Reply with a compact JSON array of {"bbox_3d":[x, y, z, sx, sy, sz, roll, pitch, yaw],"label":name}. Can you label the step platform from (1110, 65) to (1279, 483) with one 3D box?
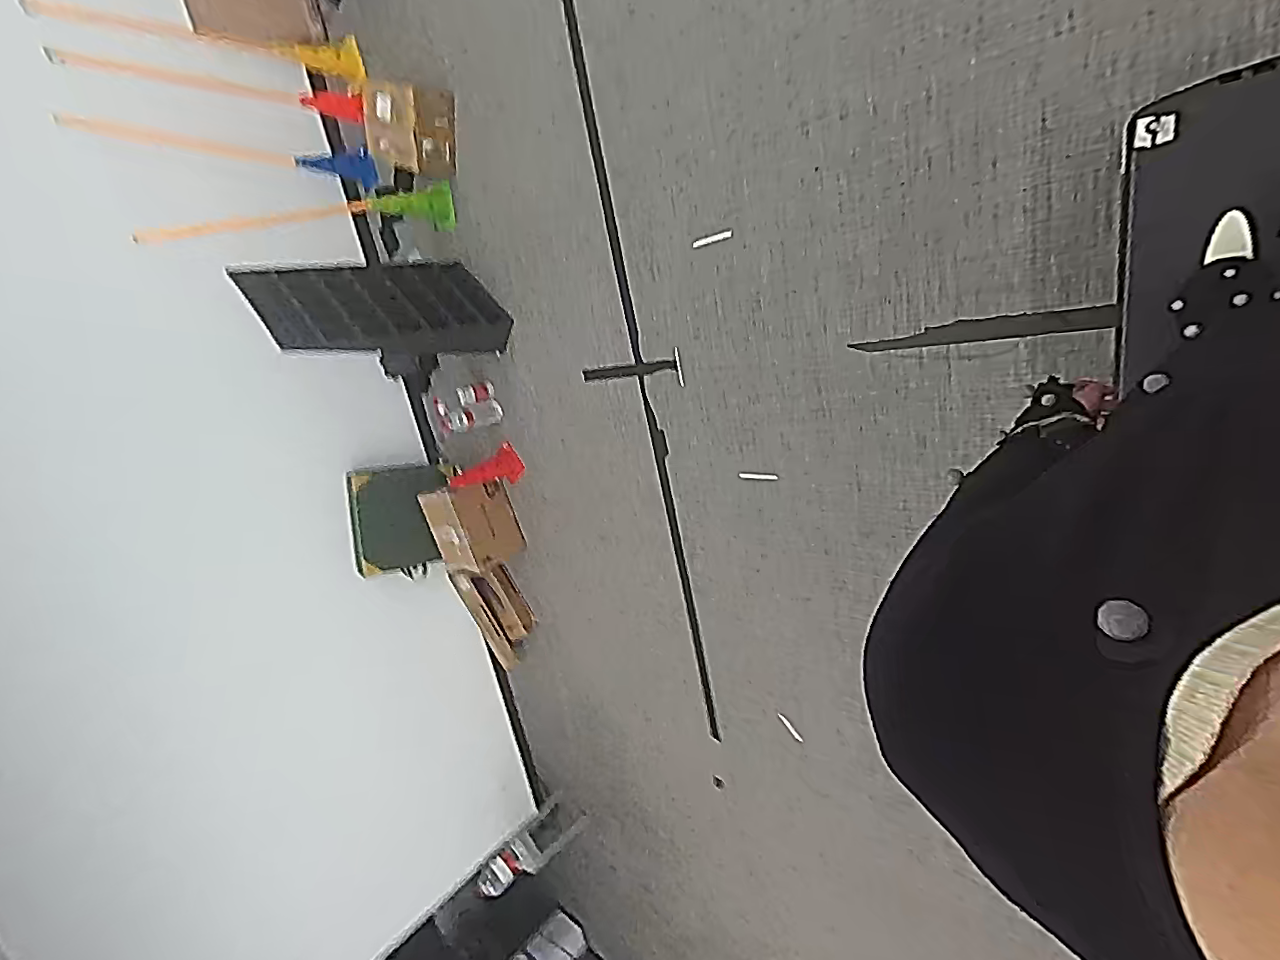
[{"bbox_3d":[1.069,-0.336,0.963,0.286,0.204,0.684,9,113,42],"label":"step platform"}]
